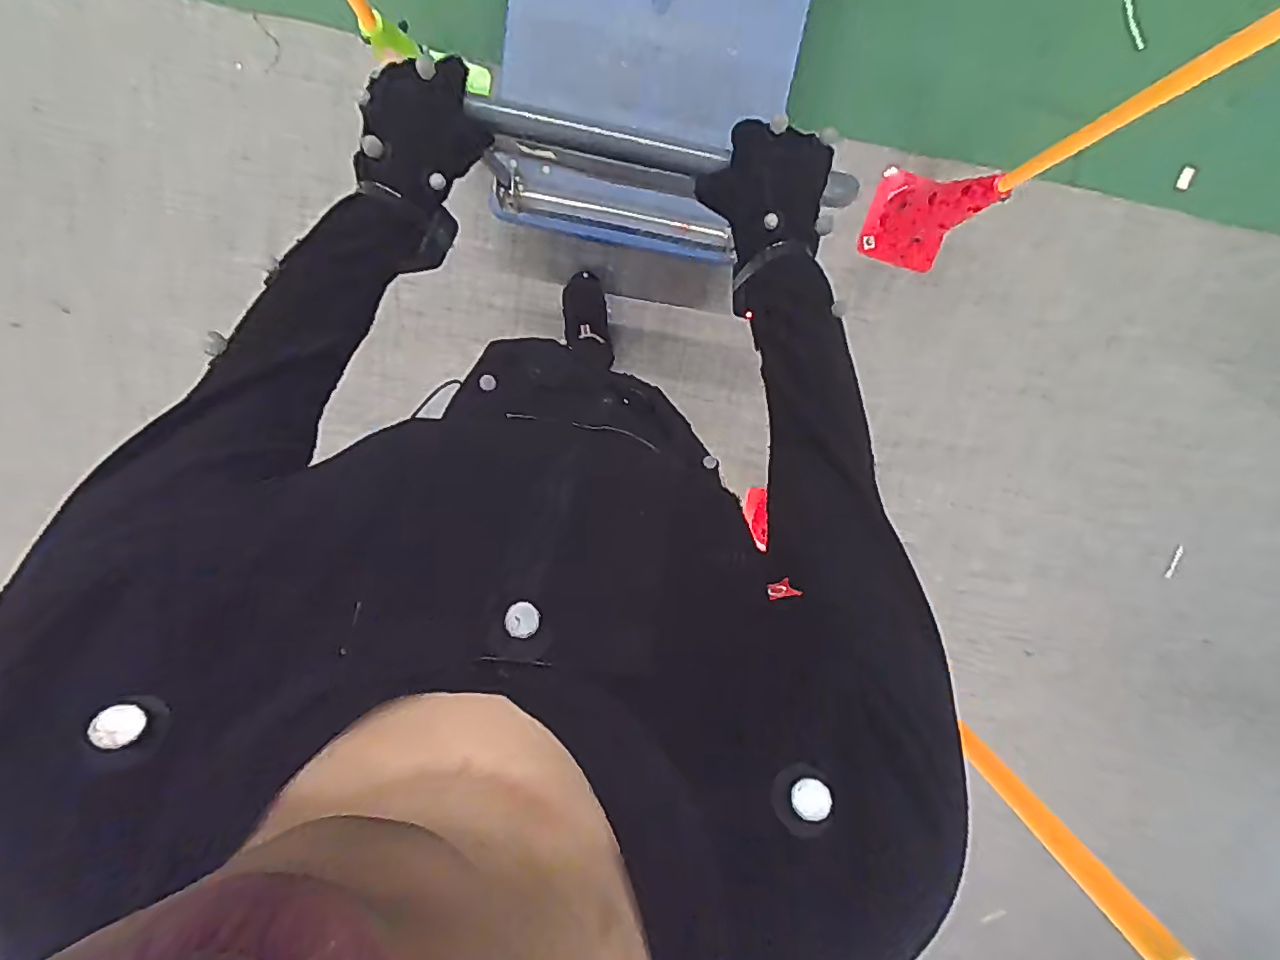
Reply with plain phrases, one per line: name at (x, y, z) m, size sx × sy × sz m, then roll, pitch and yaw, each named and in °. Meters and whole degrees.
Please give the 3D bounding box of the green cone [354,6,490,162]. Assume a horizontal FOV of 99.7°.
green cone at (-0.454, -0.815, 1.072) m, size 0.202 × 0.368 × 0.200 m, roll 15°, pitch 104°, yaw -4°

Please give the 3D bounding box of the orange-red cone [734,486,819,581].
orange-red cone at (0.377, 0.165, 1.370) m, size 0.199 × 0.360 × 0.198 m, roll 10°, pitch 105°, yaw -2°
